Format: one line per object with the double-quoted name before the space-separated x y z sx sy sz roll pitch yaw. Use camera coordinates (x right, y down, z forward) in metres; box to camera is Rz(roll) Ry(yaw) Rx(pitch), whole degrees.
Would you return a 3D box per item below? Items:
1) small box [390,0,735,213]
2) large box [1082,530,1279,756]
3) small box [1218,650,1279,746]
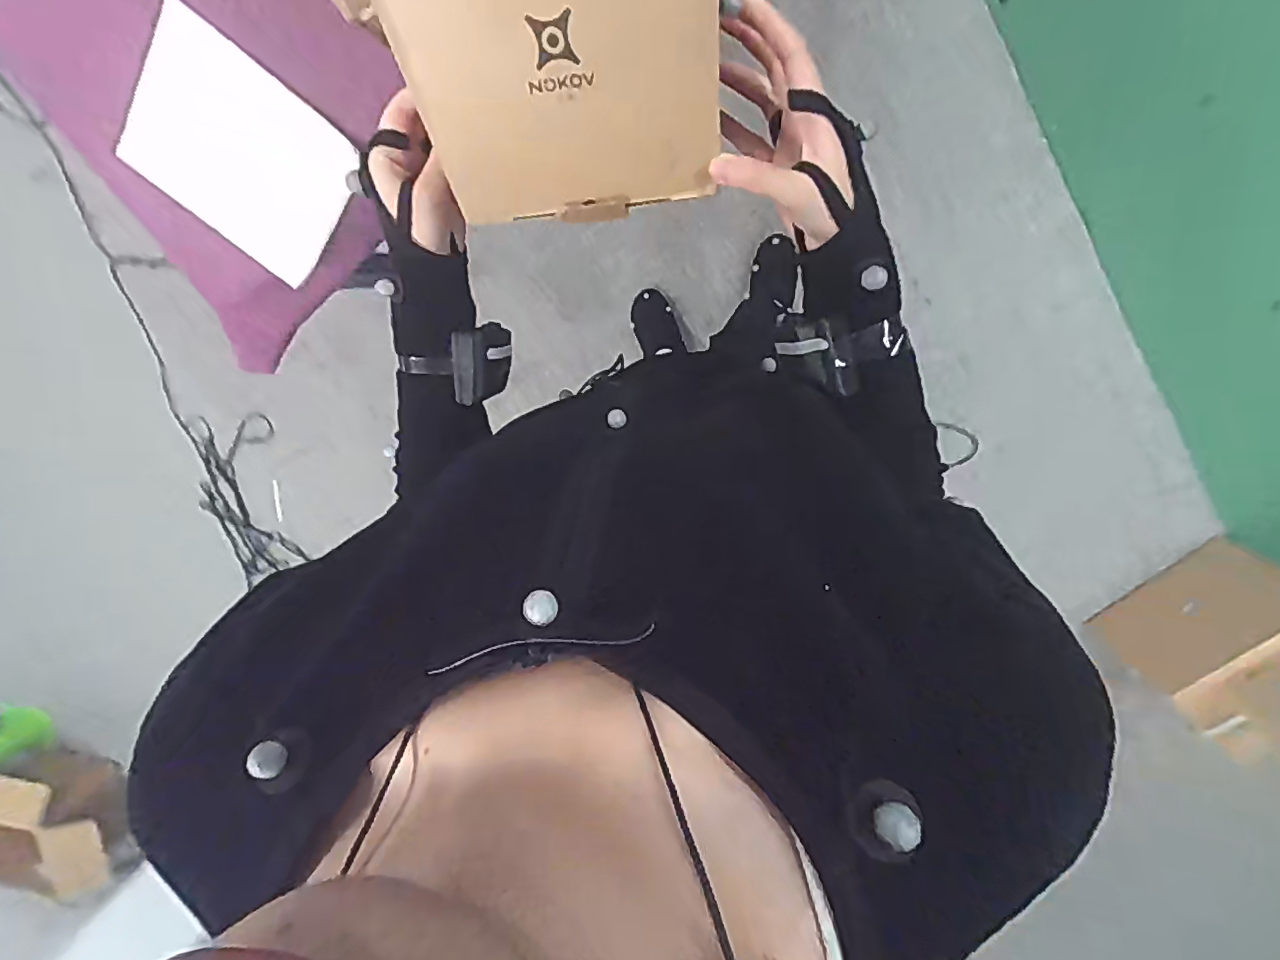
"small box" -0.033 -0.286 0.308 0.168 0.176 0.179 -3 146 5
"large box" 1.521 0.415 1.416 0.320 0.320 0.408 38 108 -11
"small box" 1.459 0.501 1.191 0.168 0.176 0.179 -42 102 19
